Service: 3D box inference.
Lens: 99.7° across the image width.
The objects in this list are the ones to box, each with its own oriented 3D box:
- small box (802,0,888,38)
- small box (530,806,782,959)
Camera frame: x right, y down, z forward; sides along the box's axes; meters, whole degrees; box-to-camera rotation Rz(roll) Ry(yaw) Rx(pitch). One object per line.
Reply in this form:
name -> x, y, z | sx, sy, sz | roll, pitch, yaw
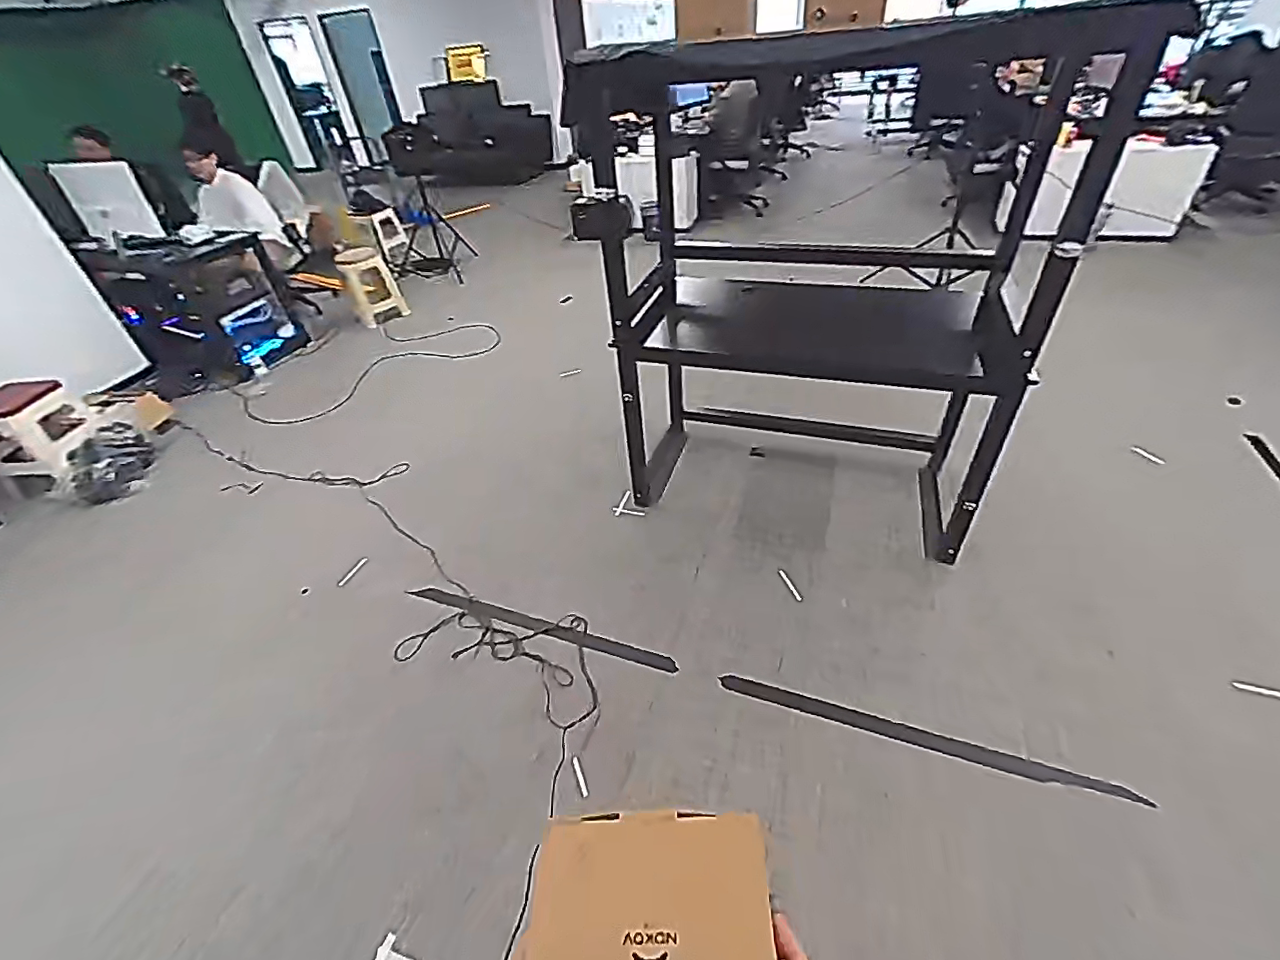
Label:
small box -> 0.445, -1.060, 1.151 | 0.168, 0.176, 0.179 | 10, 40, 18
small box -> 0.016, 0.367, 0.401 | 0.168, 0.176, 0.179 | -4, 43, 4
